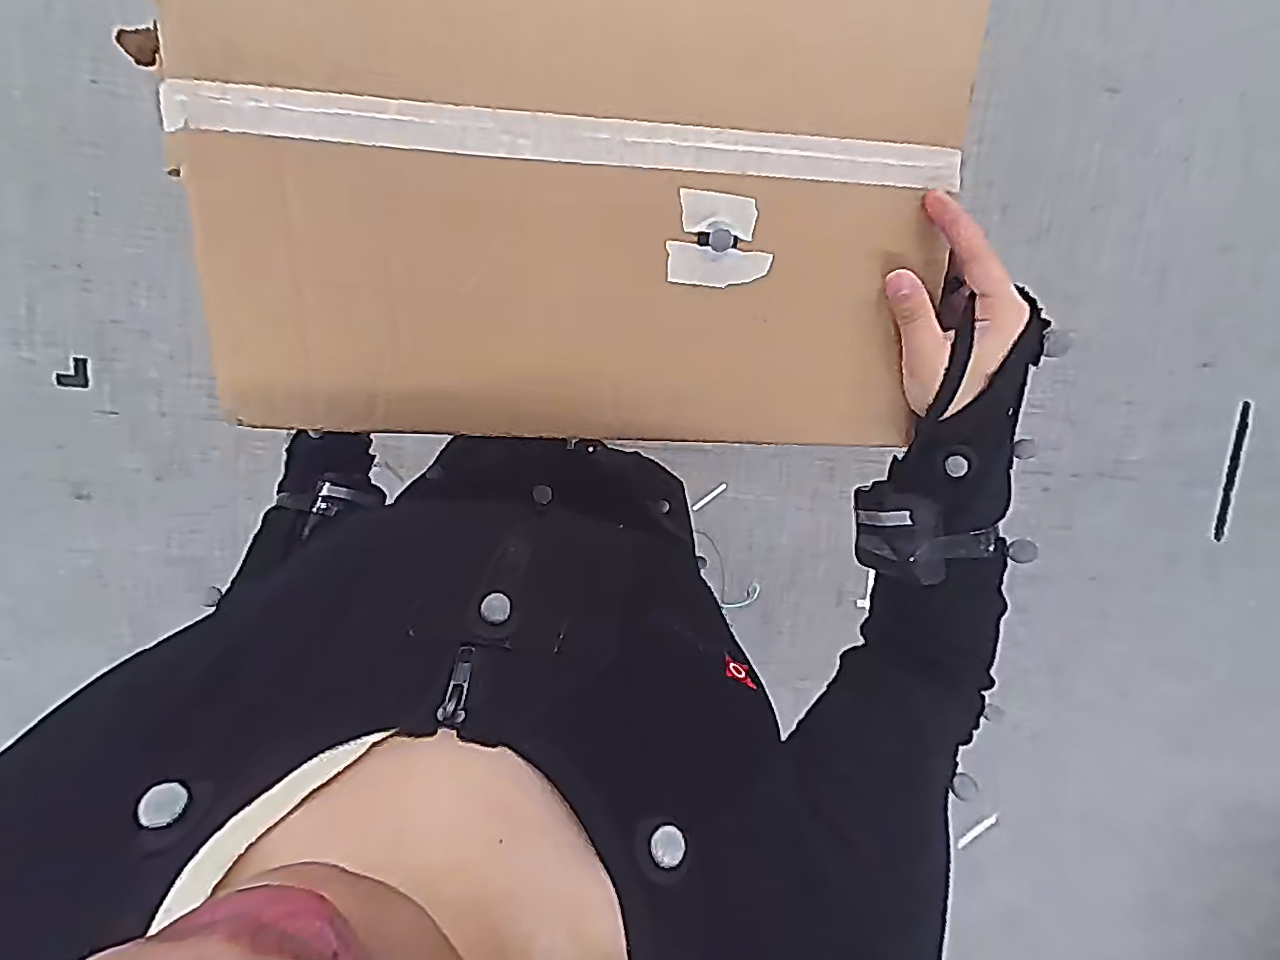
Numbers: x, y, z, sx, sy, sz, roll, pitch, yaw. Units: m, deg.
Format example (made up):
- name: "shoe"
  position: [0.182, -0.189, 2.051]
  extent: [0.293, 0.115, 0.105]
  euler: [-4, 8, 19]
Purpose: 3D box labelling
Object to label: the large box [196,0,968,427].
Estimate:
- name: "large box"
  position: [-0.039, -0.219, 0.438]
  extent: [0.408, 0.320, 0.320]
  euler: [1, 105, -7]
